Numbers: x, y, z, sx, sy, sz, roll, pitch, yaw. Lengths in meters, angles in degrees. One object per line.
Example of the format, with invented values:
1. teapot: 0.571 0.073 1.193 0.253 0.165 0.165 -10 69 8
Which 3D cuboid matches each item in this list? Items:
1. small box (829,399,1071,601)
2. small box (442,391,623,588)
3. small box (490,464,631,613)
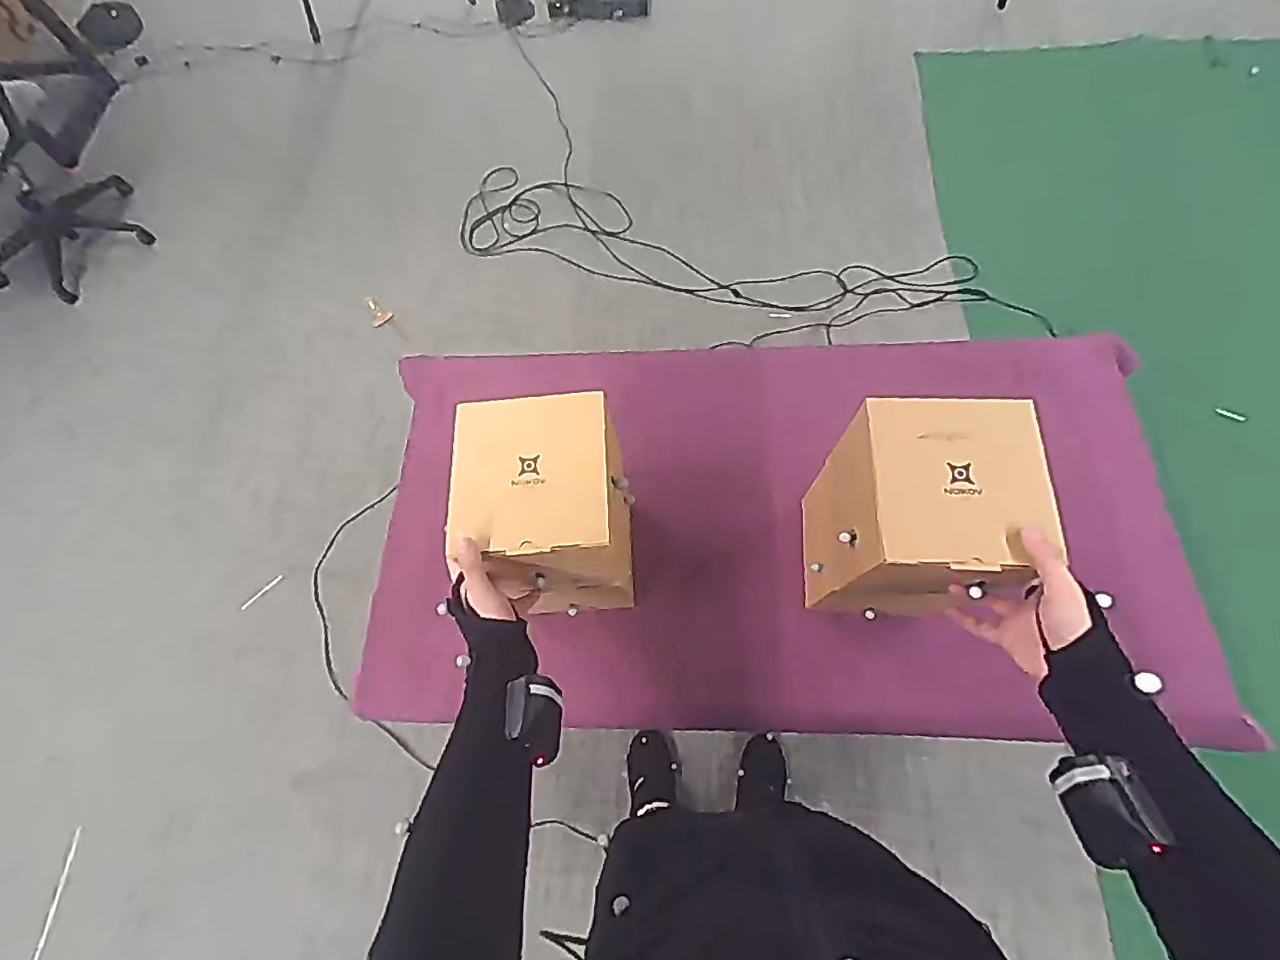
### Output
1. small box: 0.311 0.031 0.586 0.168 0.176 0.179 3 69 5
2. small box: -0.109 0.018 0.624 0.168 0.176 0.179 -4 68 2
3. small box: -0.102 0.086 0.772 0.168 0.176 0.179 -4 67 3
